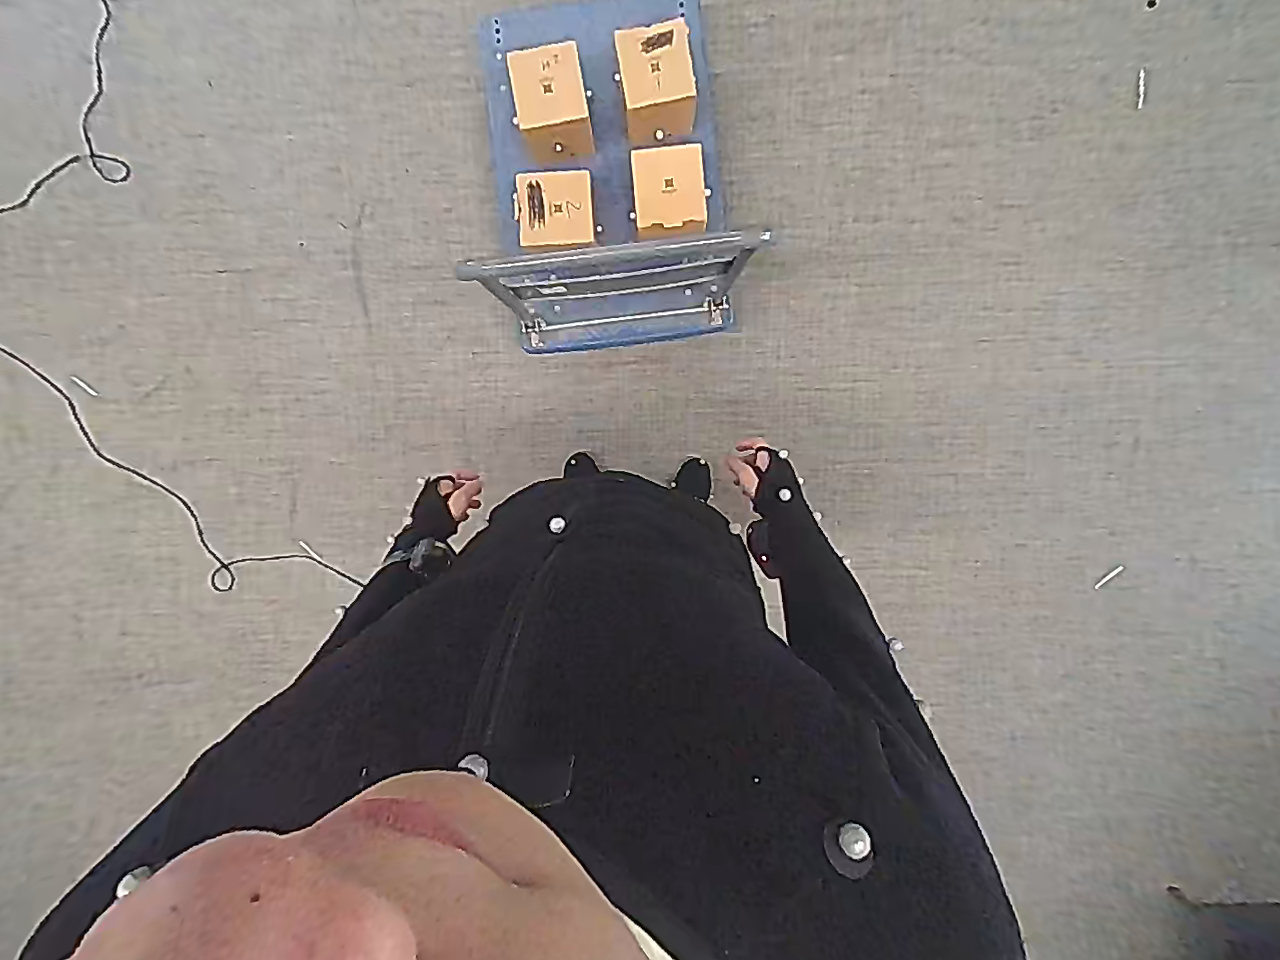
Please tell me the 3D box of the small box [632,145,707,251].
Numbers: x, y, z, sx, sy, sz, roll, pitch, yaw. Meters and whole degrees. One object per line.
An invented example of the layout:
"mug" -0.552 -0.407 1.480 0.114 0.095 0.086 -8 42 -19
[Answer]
"small box" 0.067 -0.688 1.332 0.168 0.176 0.179 -6 94 1

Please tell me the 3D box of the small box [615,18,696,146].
"small box" 0.036 -0.956 1.313 0.168 0.176 0.179 -10 95 2

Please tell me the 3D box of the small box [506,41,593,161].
"small box" -0.213 -0.910 1.320 0.168 0.176 0.179 -10 94 1
